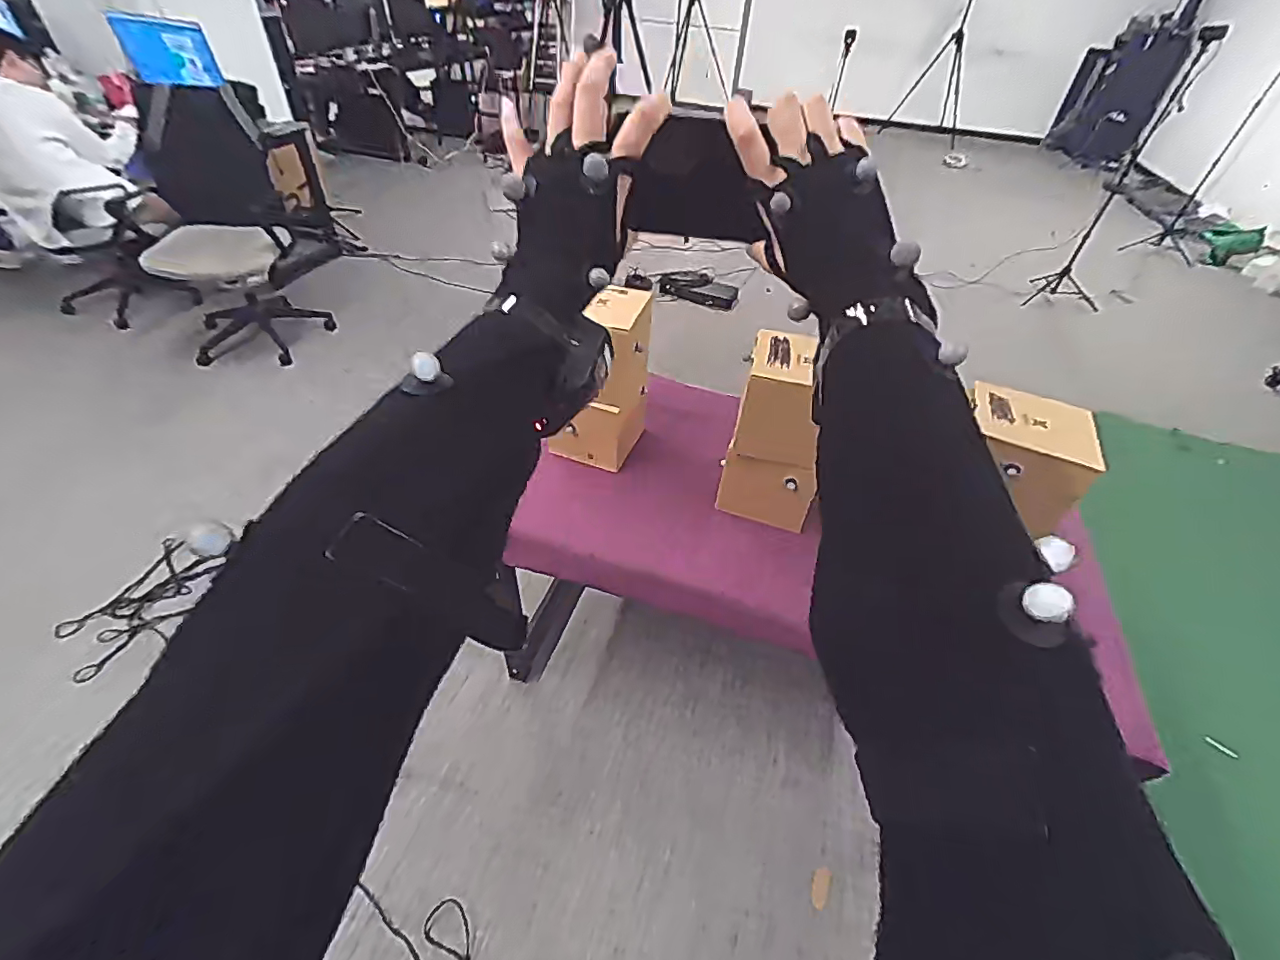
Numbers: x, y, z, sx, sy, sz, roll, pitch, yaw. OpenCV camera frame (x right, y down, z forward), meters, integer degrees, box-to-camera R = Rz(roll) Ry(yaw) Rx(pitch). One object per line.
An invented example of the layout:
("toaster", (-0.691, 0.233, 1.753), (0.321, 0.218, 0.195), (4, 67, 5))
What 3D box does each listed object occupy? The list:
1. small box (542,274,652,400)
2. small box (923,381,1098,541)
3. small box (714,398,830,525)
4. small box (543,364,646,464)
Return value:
("small box", (-0.081, -0.284, 1.078), (0.168, 0.176, 0.179), (15, 45, 9))
("small box", (0.587, -0.029, 0.879), (0.179, 0.176, 0.168), (22, 46, 16))
("small box", (0.262, -0.034, 1.087), (0.179, 0.176, 0.168), (17, 45, 13))
("small box", (-0.094, -0.161, 1.187), (0.168, 0.176, 0.179), (18, 45, 13))
